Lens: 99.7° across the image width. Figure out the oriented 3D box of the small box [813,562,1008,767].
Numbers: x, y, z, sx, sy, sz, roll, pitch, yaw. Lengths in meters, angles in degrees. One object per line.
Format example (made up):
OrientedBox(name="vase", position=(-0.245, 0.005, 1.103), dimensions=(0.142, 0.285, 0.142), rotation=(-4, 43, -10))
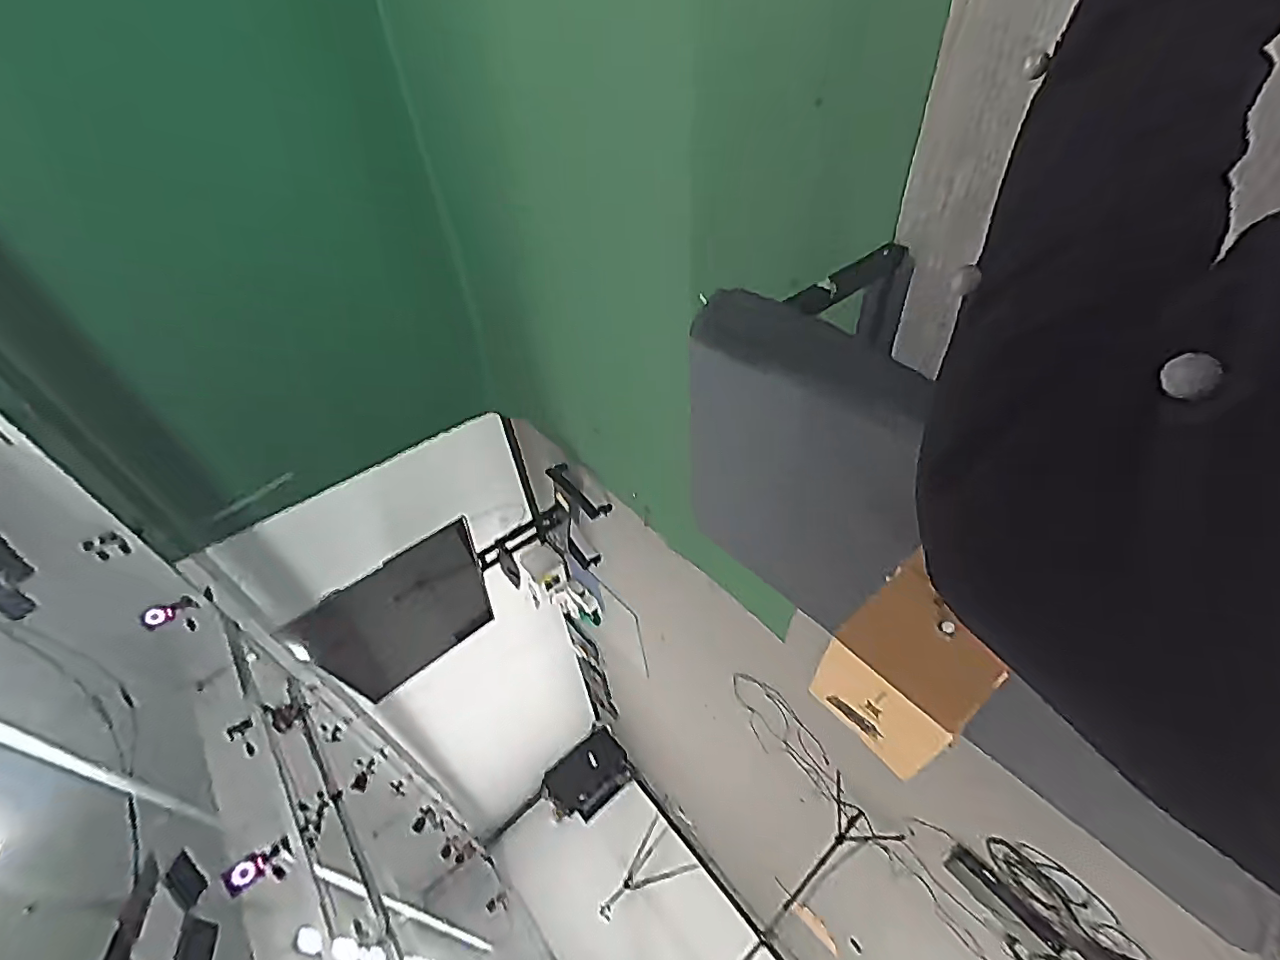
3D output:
OrientedBox(name="small box", position=(0.369, 0.252, 0.755), dimensions=(0.168, 0.176, 0.179), rotation=(39, 153, 36))
